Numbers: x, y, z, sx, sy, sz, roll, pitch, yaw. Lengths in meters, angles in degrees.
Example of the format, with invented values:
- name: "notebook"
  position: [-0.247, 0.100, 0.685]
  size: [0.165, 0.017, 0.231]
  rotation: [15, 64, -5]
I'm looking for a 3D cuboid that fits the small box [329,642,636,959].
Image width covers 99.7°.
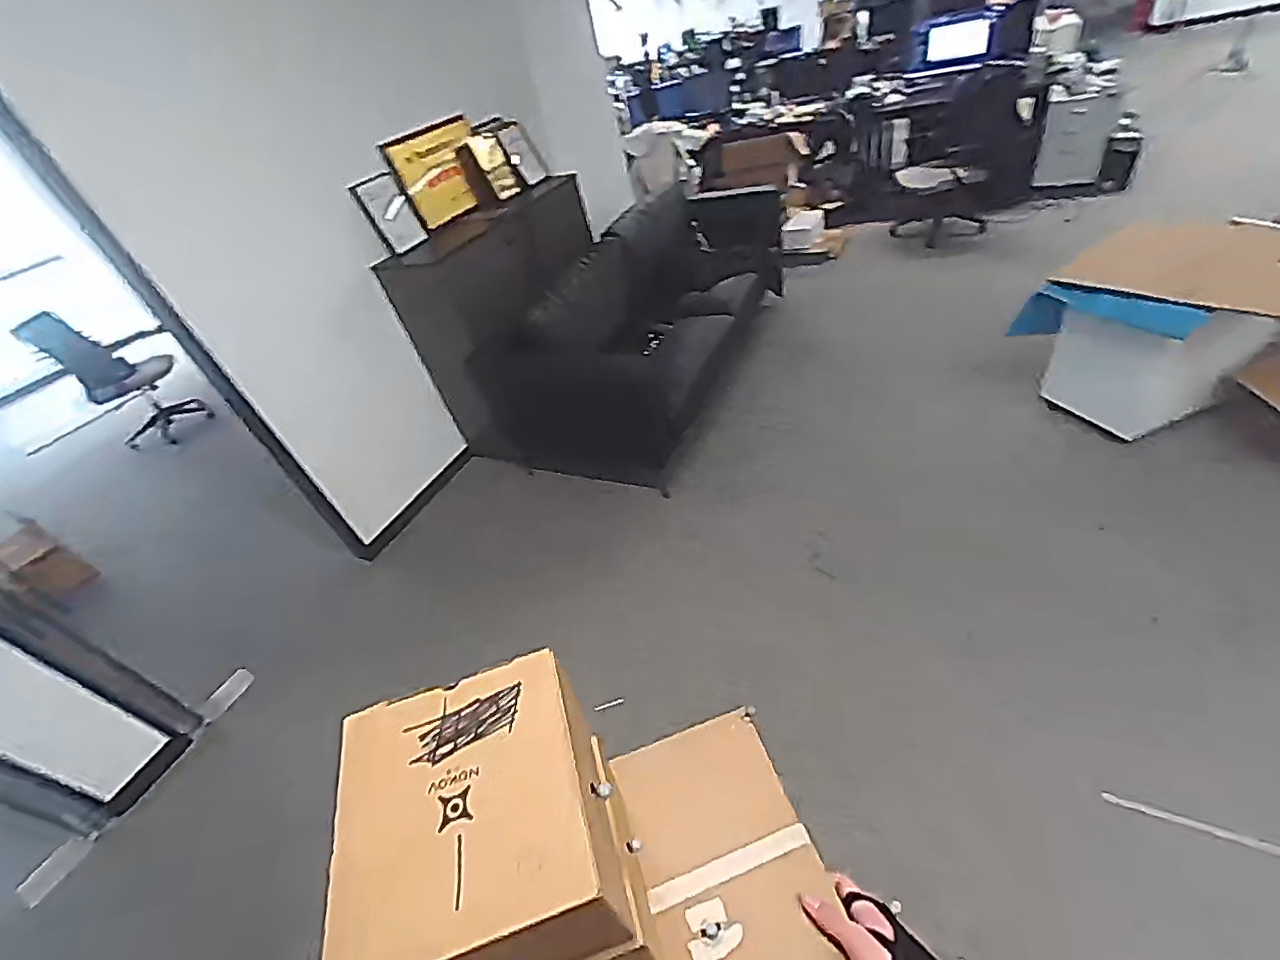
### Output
- name: "small box"
  position: [-0.110, 0.266, 0.427]
  size: [0.168, 0.176, 0.179]
  rotation: [-17, 44, -7]

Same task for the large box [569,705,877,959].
- name: "large box"
  position: [0.023, 0.563, 0.687]
  size: [0.408, 0.320, 0.320]
  rotation: [-17, 44, -9]
